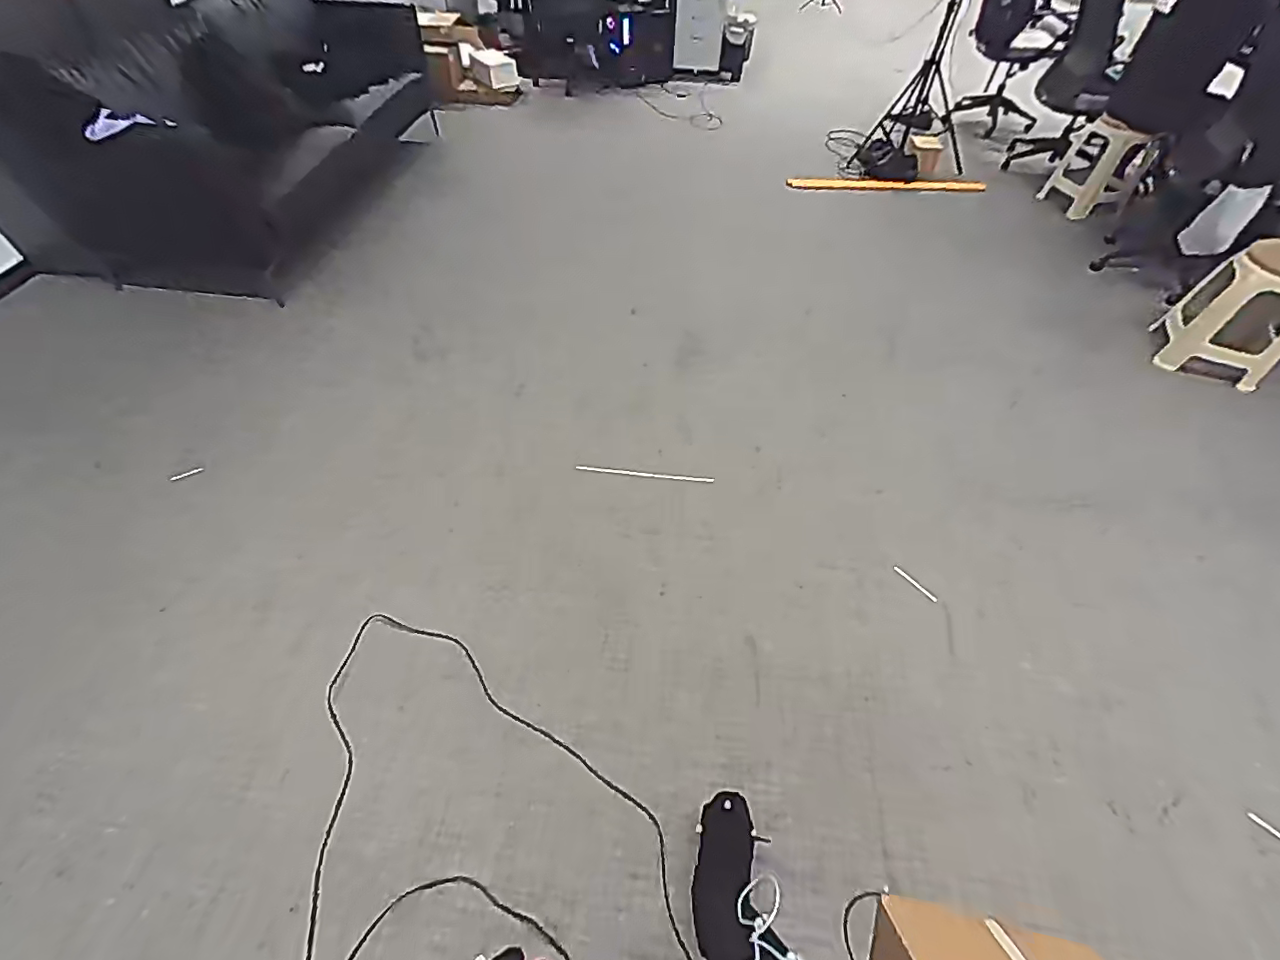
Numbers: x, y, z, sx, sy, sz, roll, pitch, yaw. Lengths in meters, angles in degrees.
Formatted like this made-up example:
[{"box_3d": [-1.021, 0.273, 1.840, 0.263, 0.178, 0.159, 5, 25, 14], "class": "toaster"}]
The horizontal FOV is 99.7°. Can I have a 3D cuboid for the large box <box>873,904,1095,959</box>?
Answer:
[{"box_3d": [0.472, 0.799, 0.601, 0.320, 0.408, 0.320, 11, 86, 5], "class": "large box"}]
